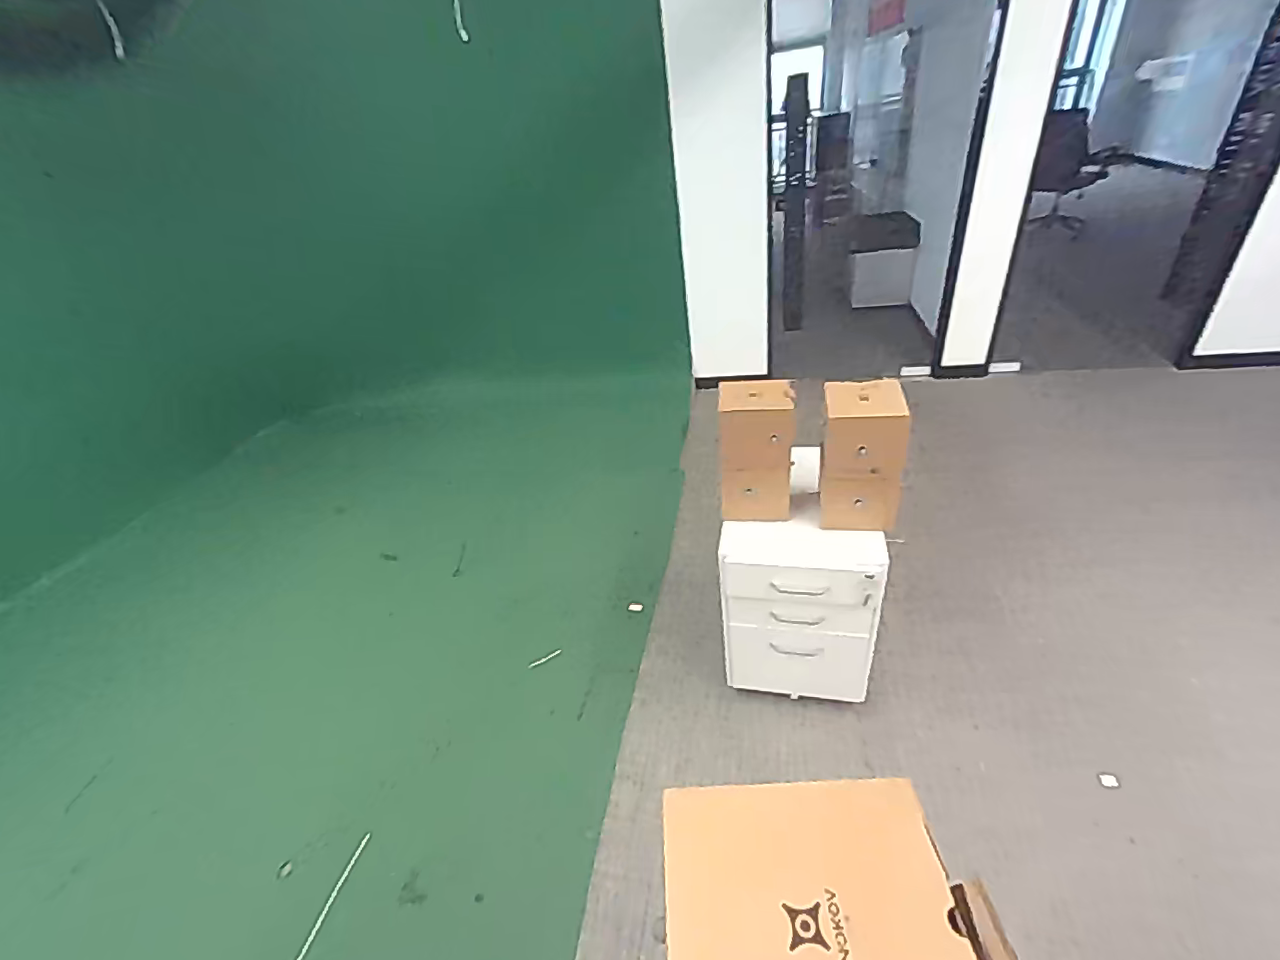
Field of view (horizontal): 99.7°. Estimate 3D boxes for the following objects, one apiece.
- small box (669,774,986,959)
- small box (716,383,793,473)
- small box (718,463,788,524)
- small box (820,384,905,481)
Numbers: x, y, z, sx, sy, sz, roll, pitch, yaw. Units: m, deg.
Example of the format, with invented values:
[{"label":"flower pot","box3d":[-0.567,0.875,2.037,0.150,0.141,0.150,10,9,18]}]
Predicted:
[{"label":"small box","box3d":[0.115,0.327,0.366,0.179,0.176,0.168,-4,34,3]},{"label":"small box","box3d":[0.283,-0.130,1.361,0.179,0.176,0.168,-1,34,10]},{"label":"small box","box3d":[0.302,0.006,1.452,0.179,0.176,0.168,0,35,11]},{"label":"small box","box3d":[0.517,-0.110,1.276,0.168,0.176,0.179,1,35,15]}]
